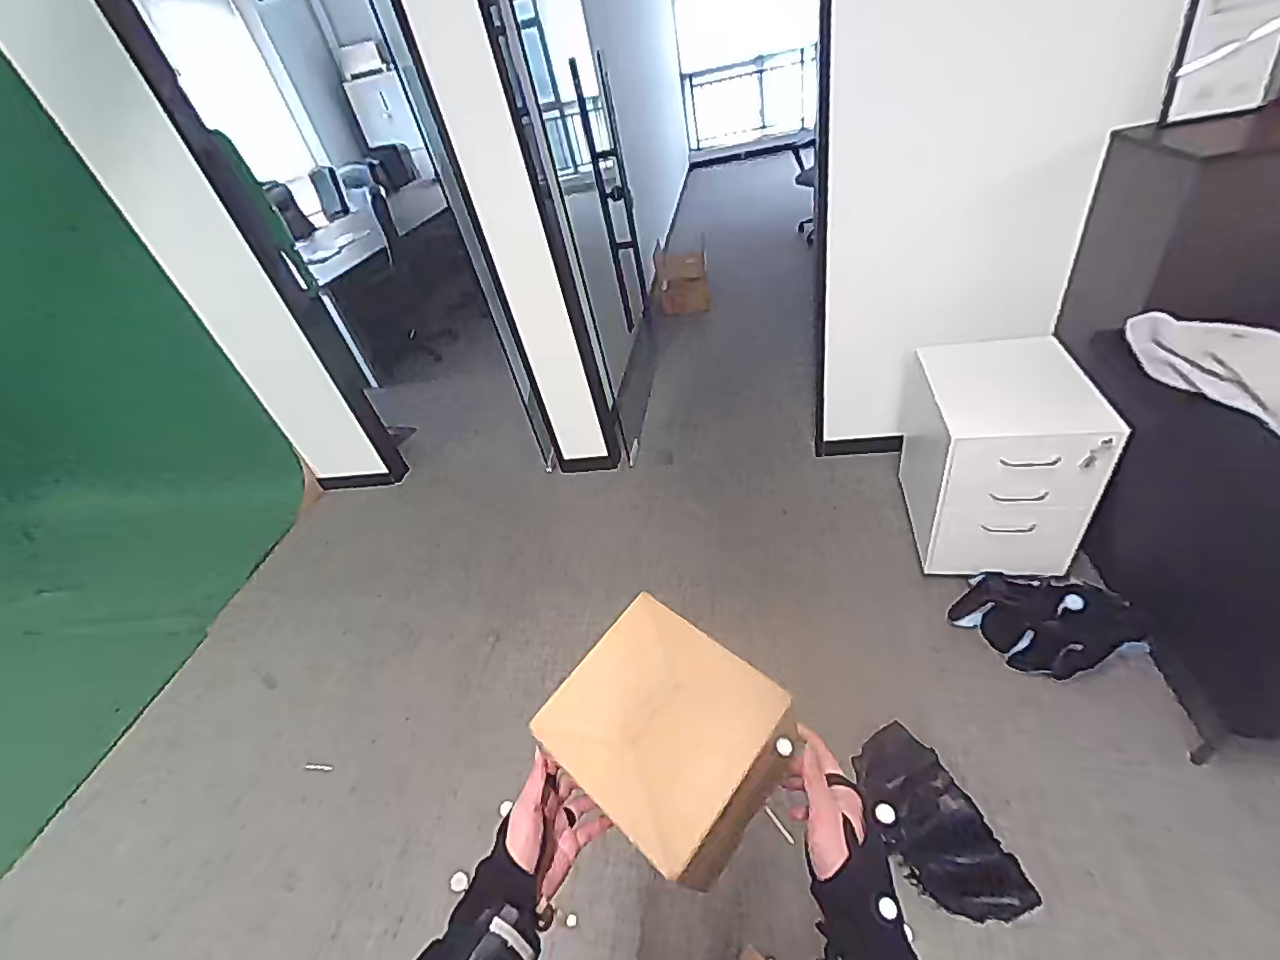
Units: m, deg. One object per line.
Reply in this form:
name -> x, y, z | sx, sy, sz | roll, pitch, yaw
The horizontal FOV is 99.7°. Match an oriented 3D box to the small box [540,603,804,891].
small box -> 0.036, 0.251, 0.515 | 0.179, 0.176, 0.168 | 29, 67, 32
